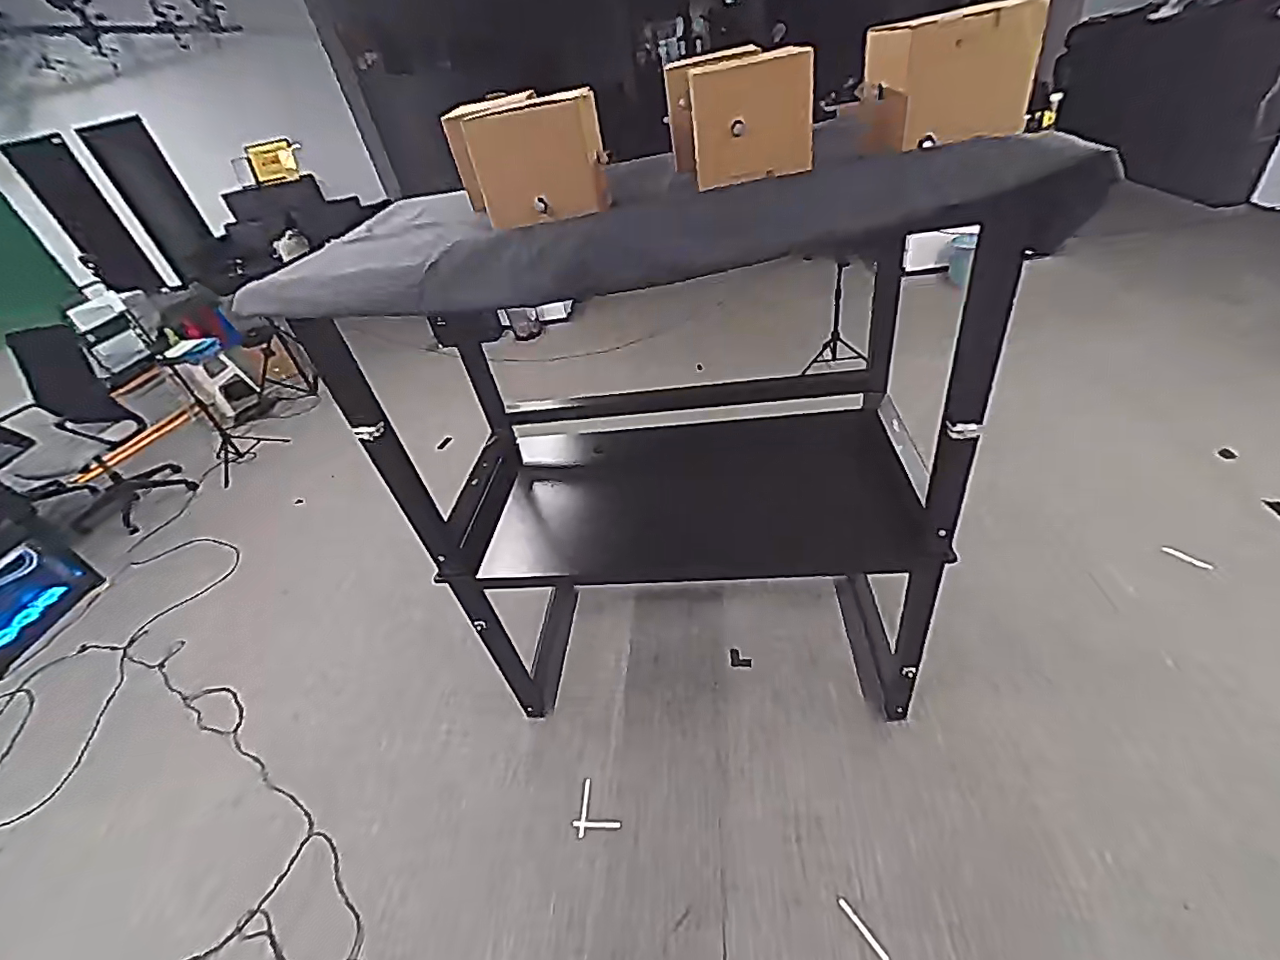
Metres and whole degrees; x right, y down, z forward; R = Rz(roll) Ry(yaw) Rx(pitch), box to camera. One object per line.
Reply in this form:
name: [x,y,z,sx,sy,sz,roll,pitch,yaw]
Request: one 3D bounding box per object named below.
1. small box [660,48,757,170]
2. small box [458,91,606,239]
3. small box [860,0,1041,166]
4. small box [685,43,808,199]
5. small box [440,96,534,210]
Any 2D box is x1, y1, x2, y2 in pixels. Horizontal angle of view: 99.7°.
small box: [0.142,-0.727,1.064,0.179,0.176,0.168,-5,39,10]
small box: [-0.158,-0.503,0.866,0.179,0.176,0.168,-5,37,9]
small box: [0.431,-0.571,0.783,0.168,0.176,0.179,-9,37,6]
small box: [0.162,-0.549,0.837,0.168,0.176,0.179,-6,37,8]
small box: [-0.285,-0.676,1.120,0.168,0.176,0.179,-10,38,5]
